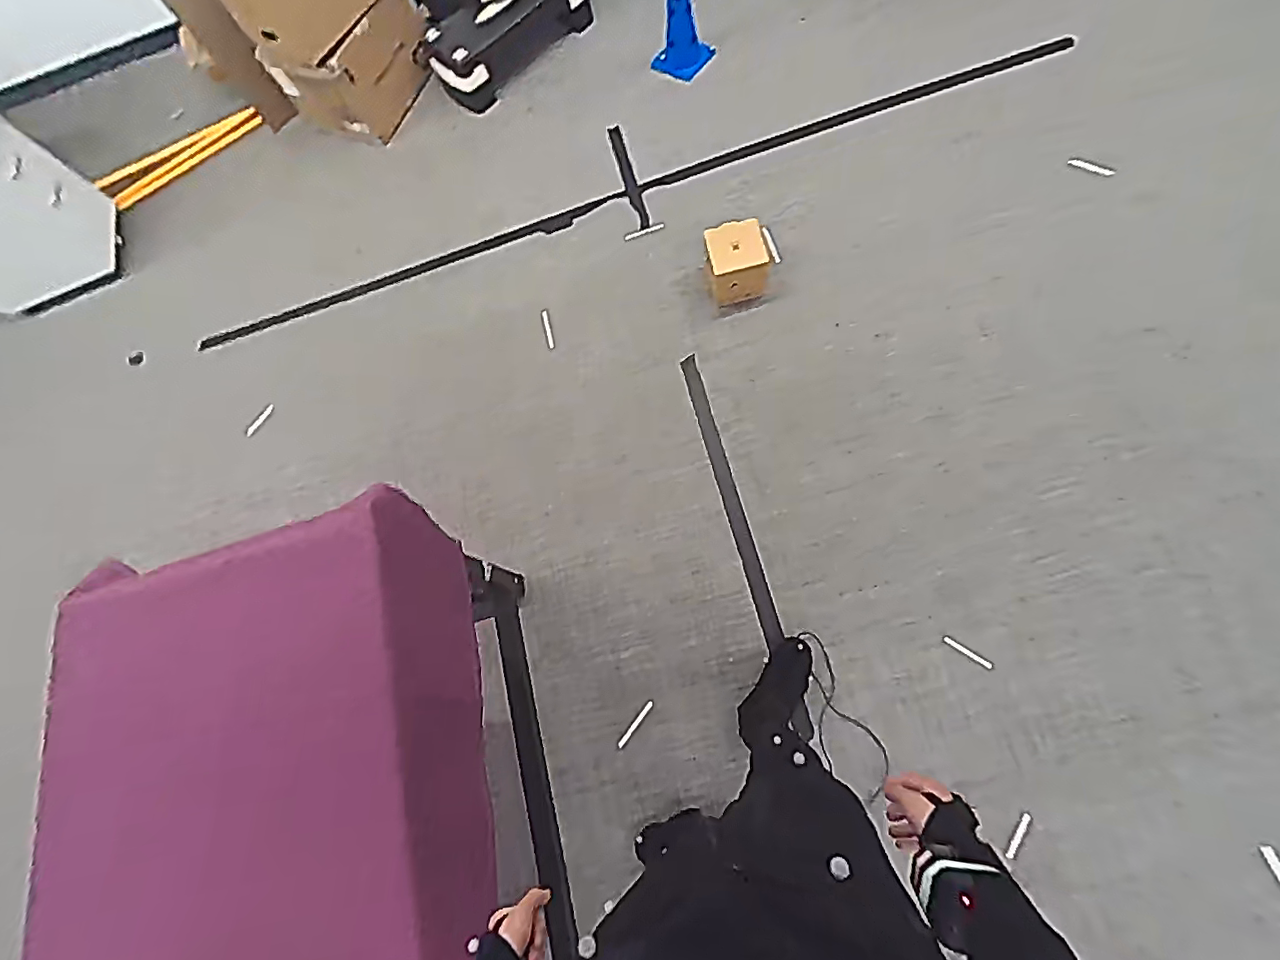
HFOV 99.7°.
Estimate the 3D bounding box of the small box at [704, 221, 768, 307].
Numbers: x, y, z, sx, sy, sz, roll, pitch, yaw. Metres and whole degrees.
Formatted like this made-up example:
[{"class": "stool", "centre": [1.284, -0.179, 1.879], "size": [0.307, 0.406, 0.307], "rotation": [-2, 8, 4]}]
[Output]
[{"class": "small box", "centre": [0.303, -0.674, 1.714], "size": [0.168, 0.176, 0.179], "rotation": [-13, 70, 5]}]
